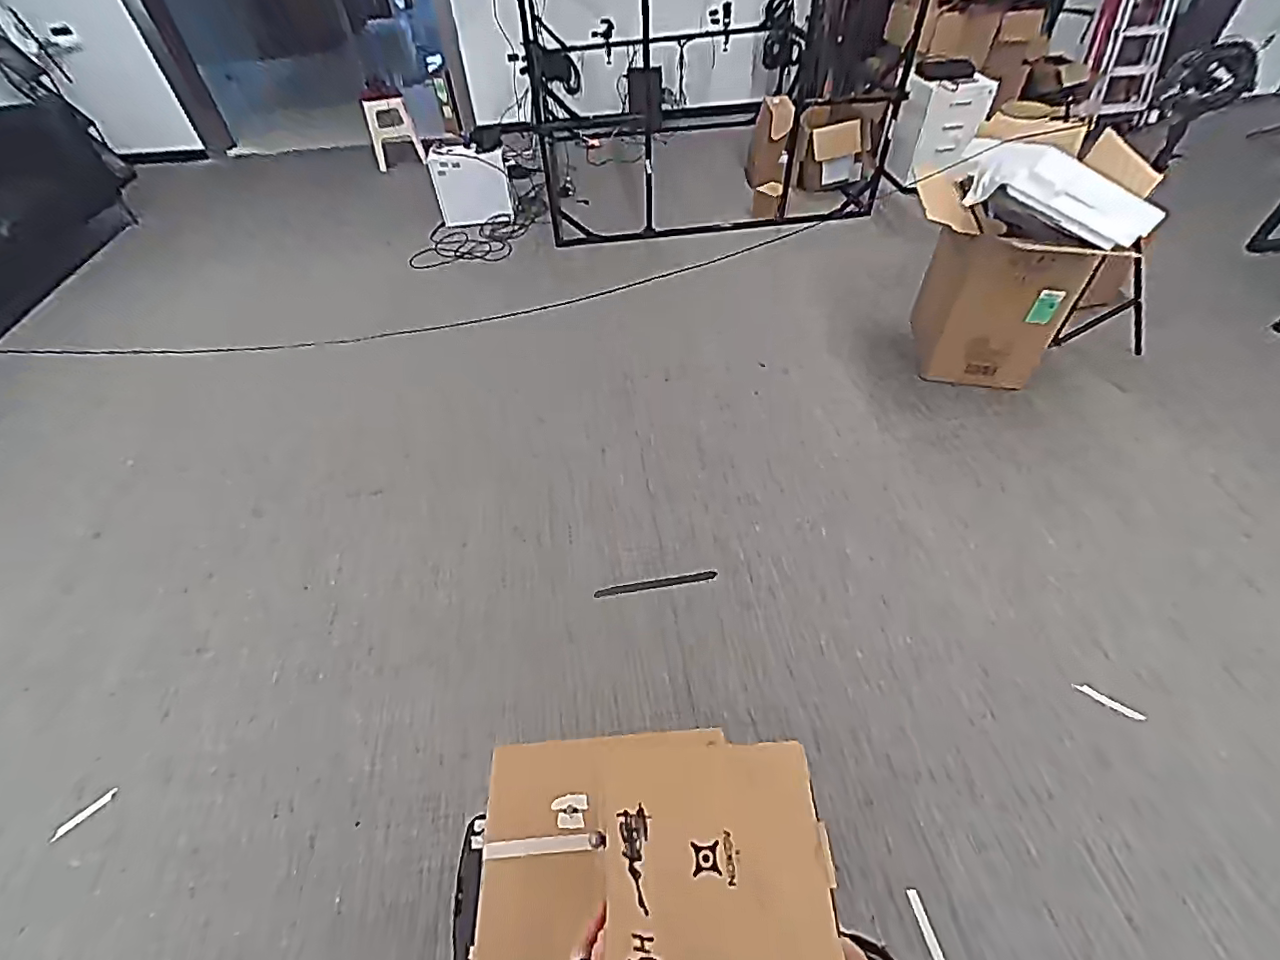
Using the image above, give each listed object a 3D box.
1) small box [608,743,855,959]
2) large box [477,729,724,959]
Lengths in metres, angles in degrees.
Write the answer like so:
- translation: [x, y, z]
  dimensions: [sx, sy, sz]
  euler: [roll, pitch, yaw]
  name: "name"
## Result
- translation: [0.061, 0.337, 0.477]
  dimensions: [0.179, 0.176, 0.168]
  euler: [-1, 54, -3]
  name: "small box"
- translation: [-0.031, 0.665, 0.944]
  dimensions: [0.408, 0.320, 0.320]
  euler: [-5, 47, -1]
  name: "large box"
